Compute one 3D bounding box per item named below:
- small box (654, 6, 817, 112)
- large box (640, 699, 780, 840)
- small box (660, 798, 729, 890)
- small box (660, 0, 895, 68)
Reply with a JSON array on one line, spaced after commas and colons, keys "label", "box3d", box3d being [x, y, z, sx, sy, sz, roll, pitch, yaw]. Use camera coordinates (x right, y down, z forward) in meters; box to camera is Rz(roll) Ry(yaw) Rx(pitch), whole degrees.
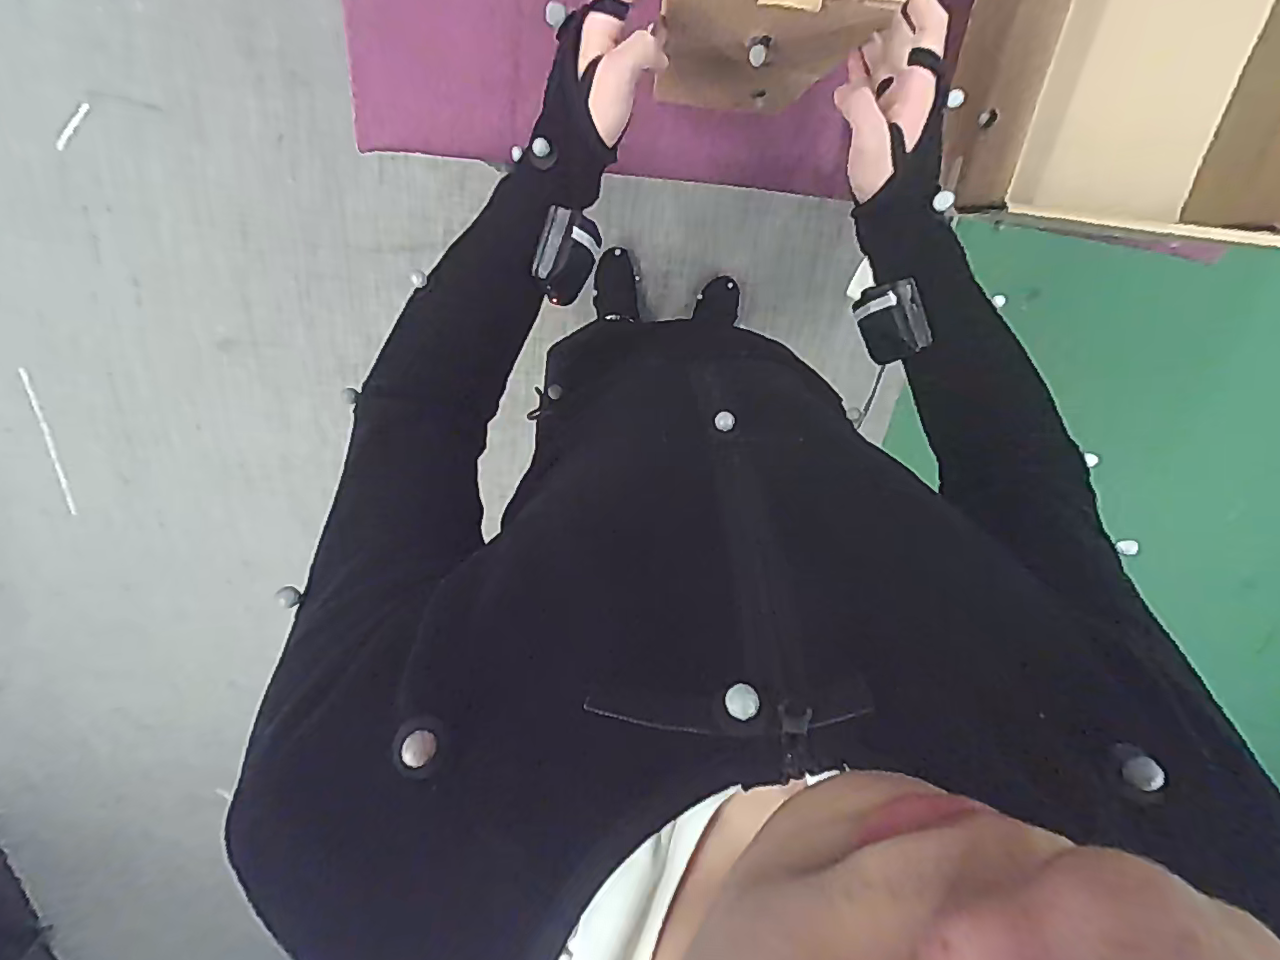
[{"label": "small box", "box3d": [0.107, -0.528, 0.590, 0.168, 0.176, 0.179, 5, 112, -5]}, {"label": "large box", "box3d": [0.247, 1.100, 2.019, 0.408, 0.320, 0.320, -25, 113, 8]}, {"label": "small box", "box3d": [0.174, 1.202, 1.791, 0.179, 0.176, 0.168, -25, 111, 9]}, {"label": "small box", "box3d": [0.107, -0.450, 0.418, 0.168, 0.176, 0.179, 4, 114, -4]}]
